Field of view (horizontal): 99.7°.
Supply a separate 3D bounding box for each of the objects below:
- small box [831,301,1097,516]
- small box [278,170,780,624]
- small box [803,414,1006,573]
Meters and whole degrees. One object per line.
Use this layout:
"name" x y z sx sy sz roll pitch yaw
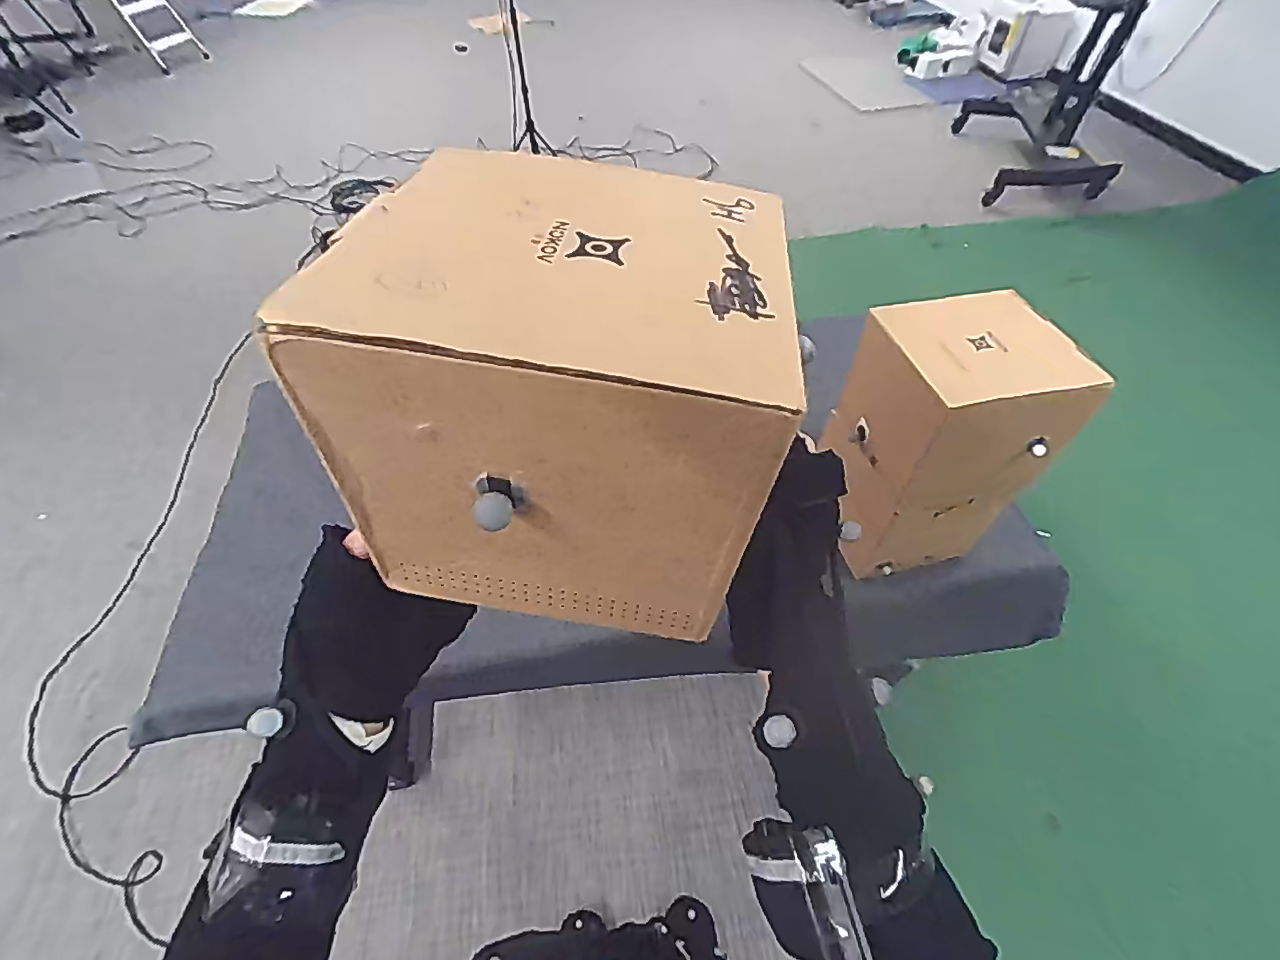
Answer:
"small box" 0.350 -0.080 0.628 0.179 0.176 0.168 -10 50 -5
"small box" -0.035 -0.039 0.292 0.179 0.176 0.168 8 49 1
"small box" 0.352 0.014 0.760 0.168 0.176 0.179 -11 51 -7
